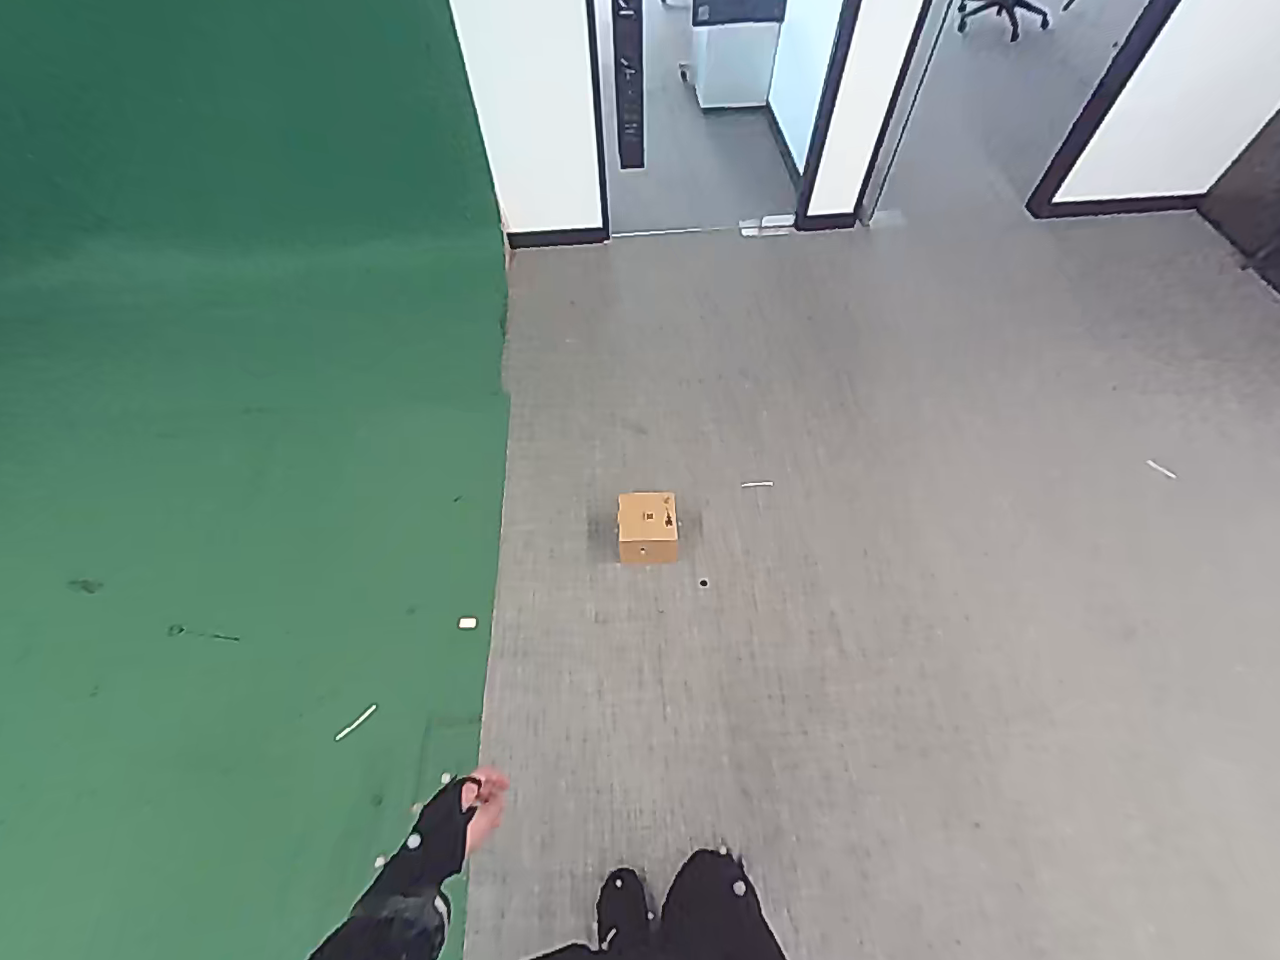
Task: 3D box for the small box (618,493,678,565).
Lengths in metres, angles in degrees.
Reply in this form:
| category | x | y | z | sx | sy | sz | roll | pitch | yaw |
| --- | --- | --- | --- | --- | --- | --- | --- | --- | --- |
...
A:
| category | x | y | z | sx | sy | sz | roll | pitch | yaw |
| --- | --- | --- | --- | --- | --- | --- | --- | --- | --- |
| small box | 0.027 | 0.155 | 1.674 | 0.179 | 0.176 | 0.168 | -2 | 57 | 1 |
